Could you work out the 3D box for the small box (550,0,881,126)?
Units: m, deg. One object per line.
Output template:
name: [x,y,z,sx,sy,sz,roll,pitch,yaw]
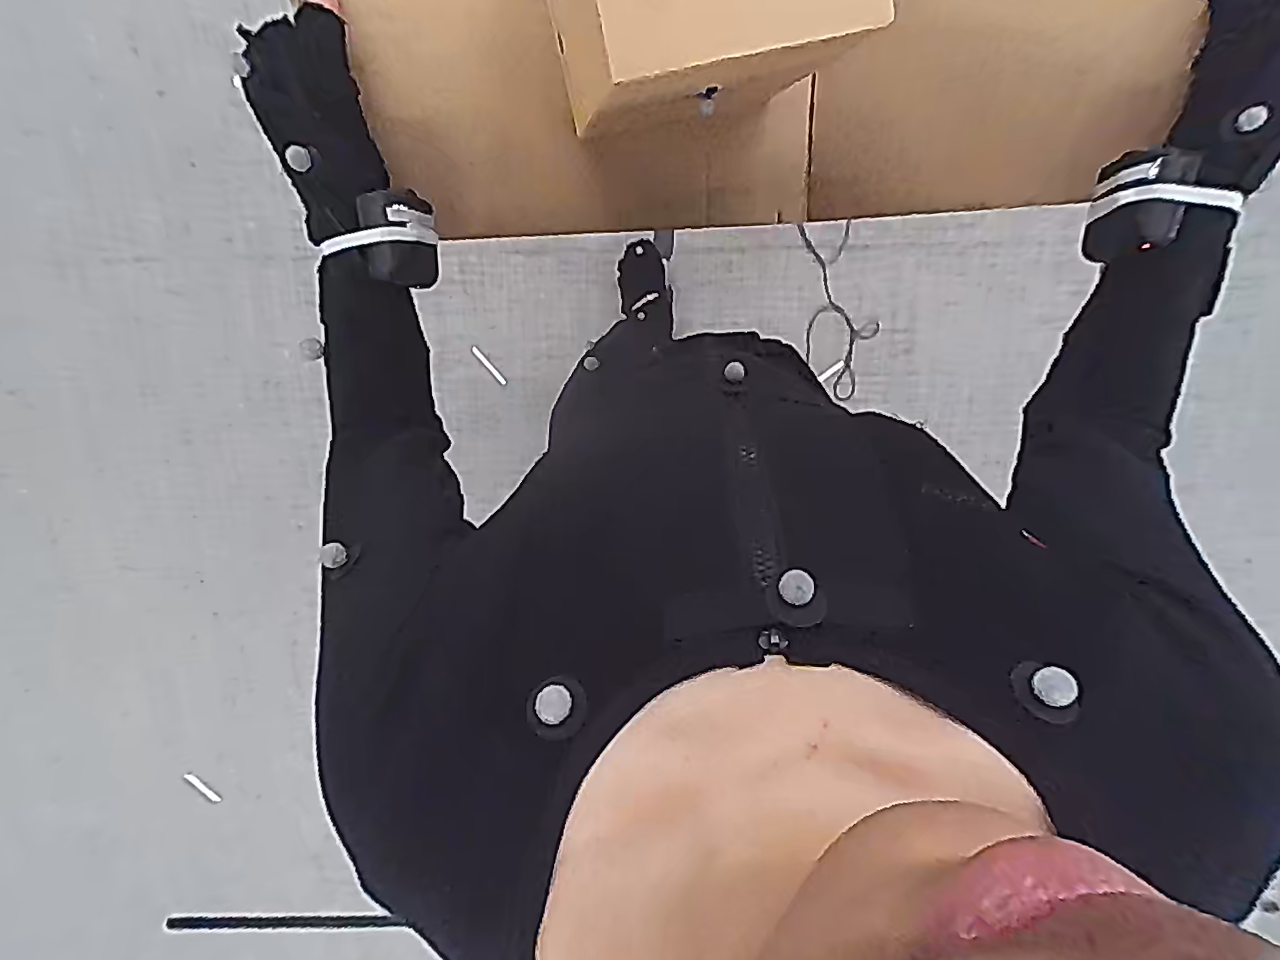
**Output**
small box: [0.032,-0.358,0.357,0.179,0.176,0.168,-16,115,-6]
